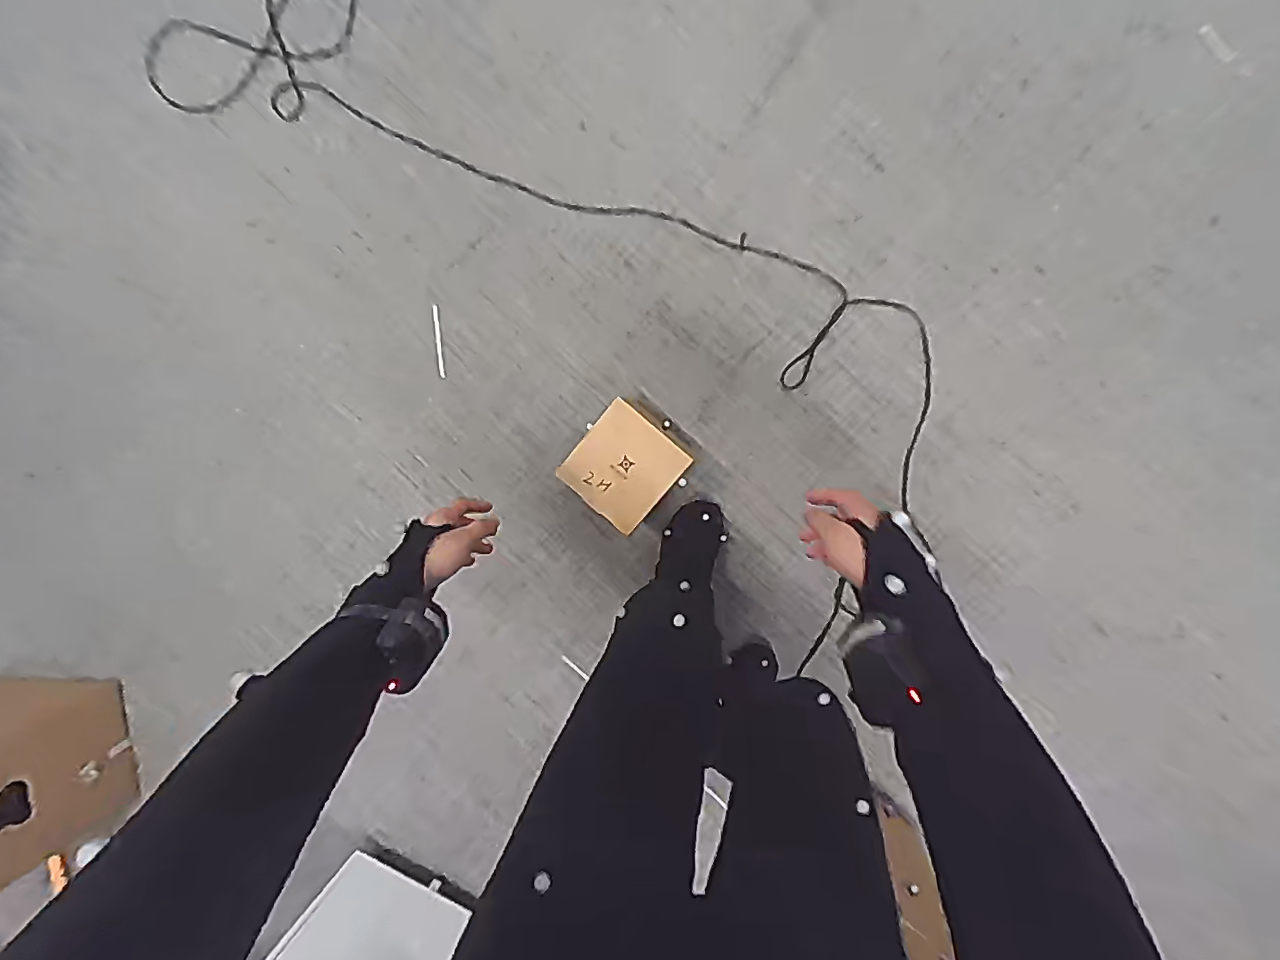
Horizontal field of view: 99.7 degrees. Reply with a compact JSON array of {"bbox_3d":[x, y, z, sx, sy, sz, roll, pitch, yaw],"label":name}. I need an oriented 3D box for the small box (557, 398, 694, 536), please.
[{"bbox_3d":[-0.018,-0.030,0.978,0.168,0.176,0.179,40,101,2],"label":"small box"}]

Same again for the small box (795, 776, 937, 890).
[{"bbox_3d":[0.417,0.702,1.024,0.179,0.176,0.168,41,102,2],"label":"small box"}]

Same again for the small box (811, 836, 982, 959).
[{"bbox_3d":[0.399,0.717,0.862,0.179,0.176,0.168,38,103,0],"label":"small box"}]
